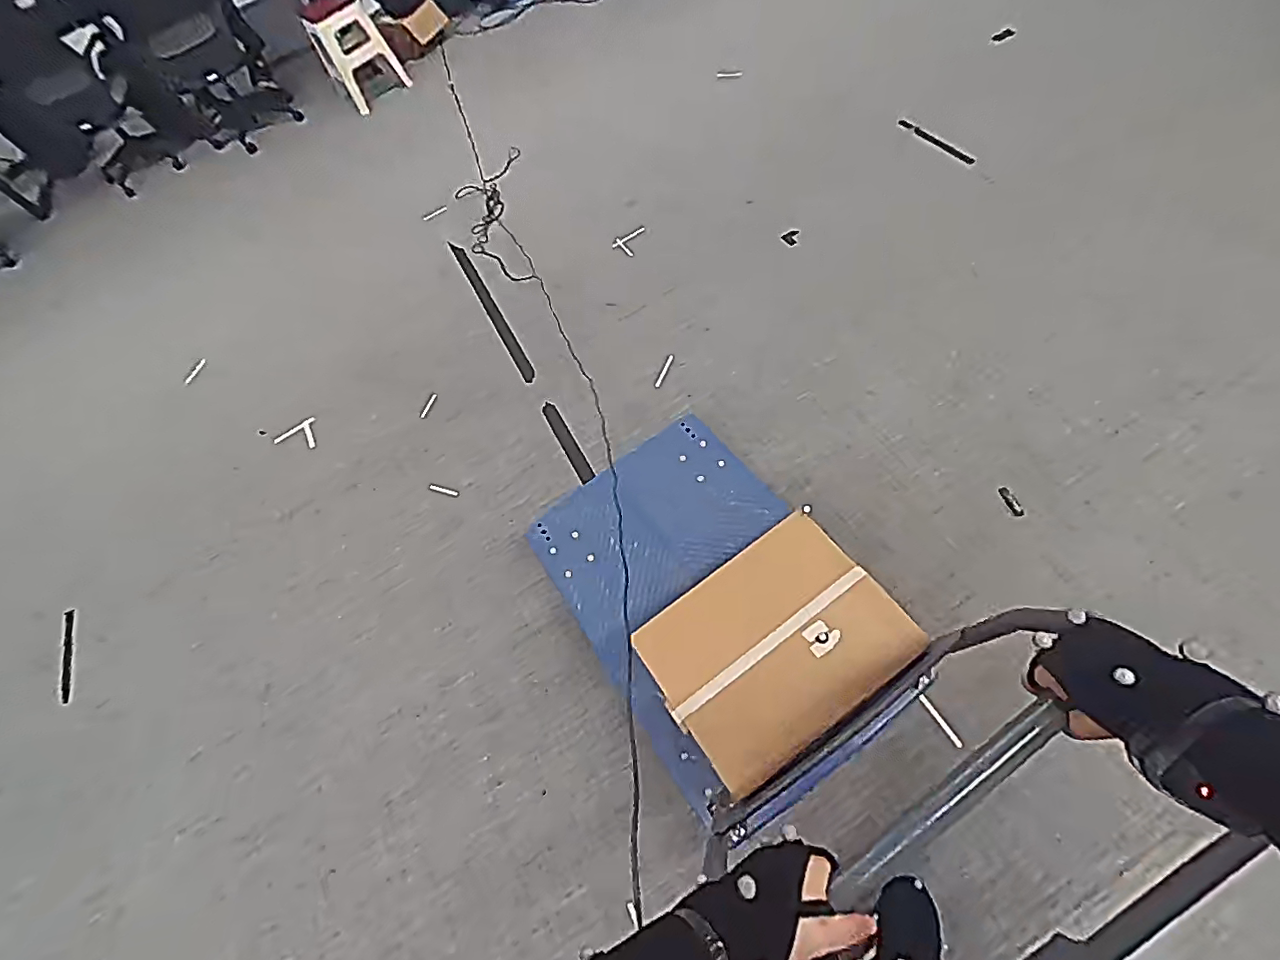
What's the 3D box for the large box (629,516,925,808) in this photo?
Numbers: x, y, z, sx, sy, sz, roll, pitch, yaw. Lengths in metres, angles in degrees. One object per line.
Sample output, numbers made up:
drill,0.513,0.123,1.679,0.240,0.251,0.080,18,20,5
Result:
large box,0.246,0.351,1.041,0.408,0.320,0.320,-35,62,-8
